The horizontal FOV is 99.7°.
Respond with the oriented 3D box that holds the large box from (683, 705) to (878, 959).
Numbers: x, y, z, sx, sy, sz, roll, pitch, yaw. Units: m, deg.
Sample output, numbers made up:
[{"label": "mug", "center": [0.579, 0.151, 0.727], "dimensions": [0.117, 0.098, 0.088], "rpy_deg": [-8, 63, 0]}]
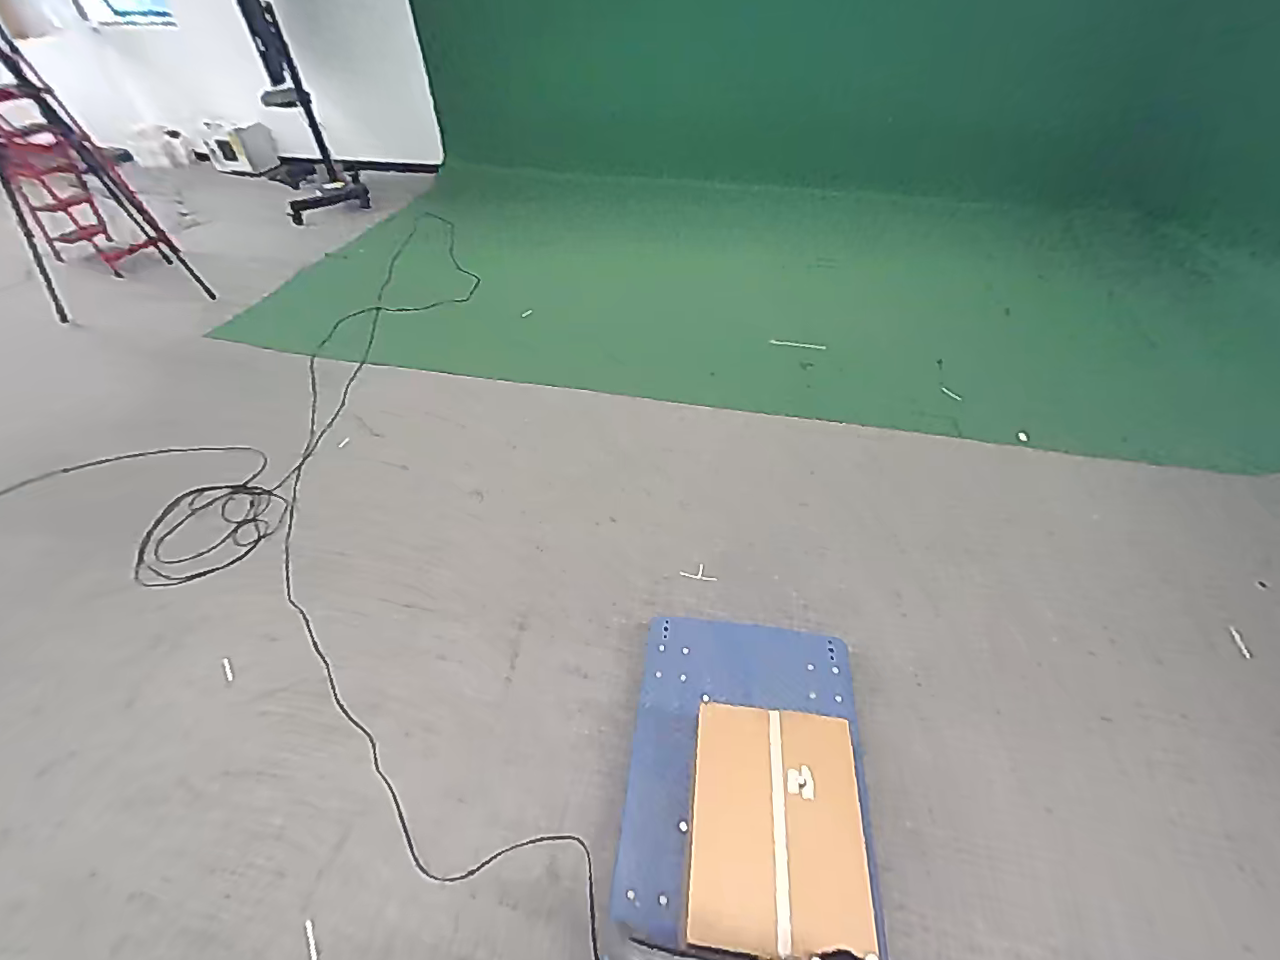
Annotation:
[{"label": "large box", "center": [0.256, 0.741, 1.115], "dimensions": [0.320, 0.320, 0.408], "rpy_deg": [6, 45, 5]}]
